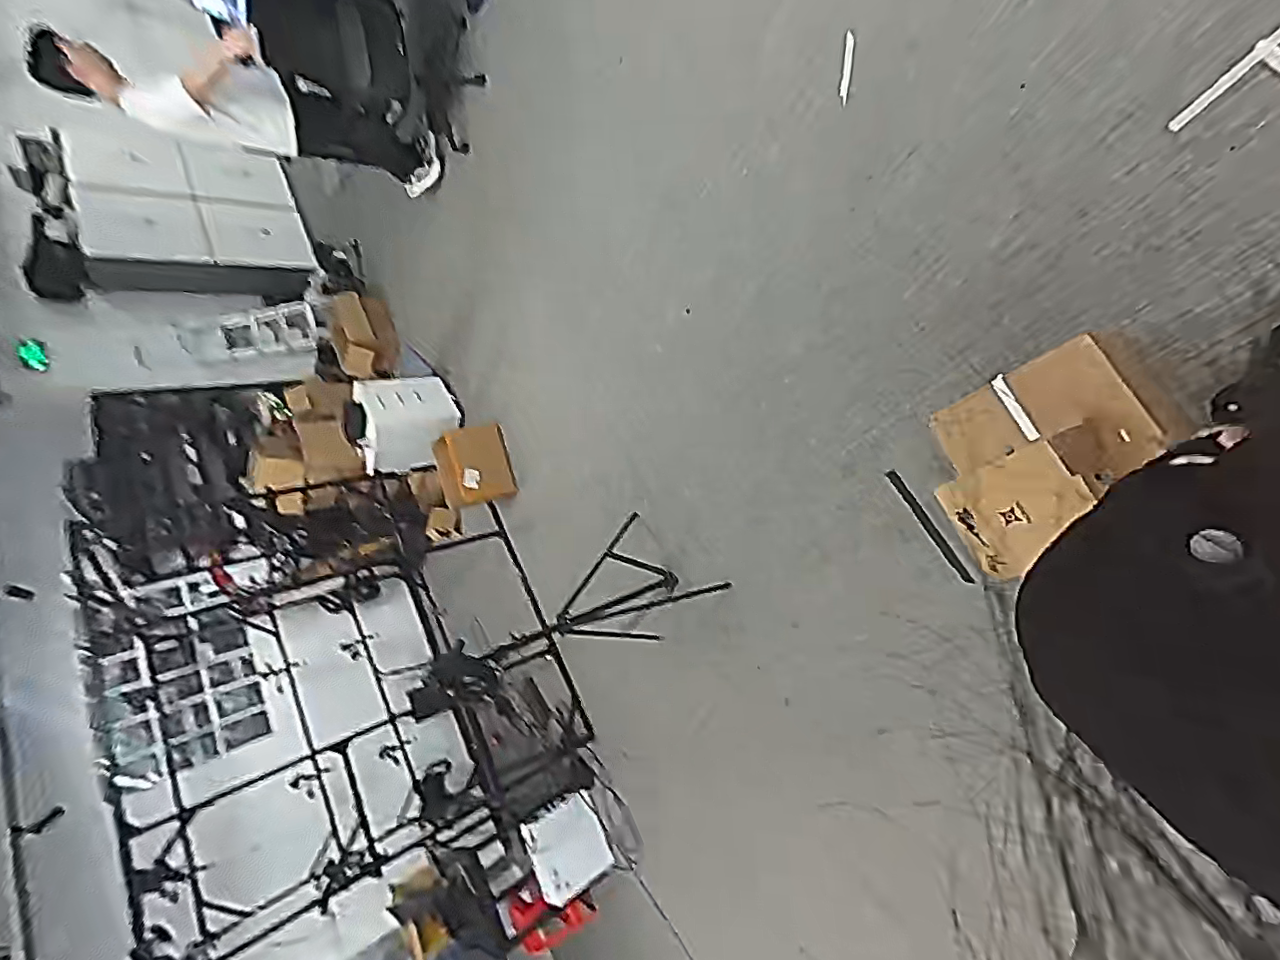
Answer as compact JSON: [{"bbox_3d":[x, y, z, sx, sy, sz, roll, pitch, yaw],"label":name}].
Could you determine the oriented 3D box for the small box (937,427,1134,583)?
[{"bbox_3d":[0.604,0.034,0.824,0.179,0.176,0.168,-40,70,47],"label":"small box"}]
